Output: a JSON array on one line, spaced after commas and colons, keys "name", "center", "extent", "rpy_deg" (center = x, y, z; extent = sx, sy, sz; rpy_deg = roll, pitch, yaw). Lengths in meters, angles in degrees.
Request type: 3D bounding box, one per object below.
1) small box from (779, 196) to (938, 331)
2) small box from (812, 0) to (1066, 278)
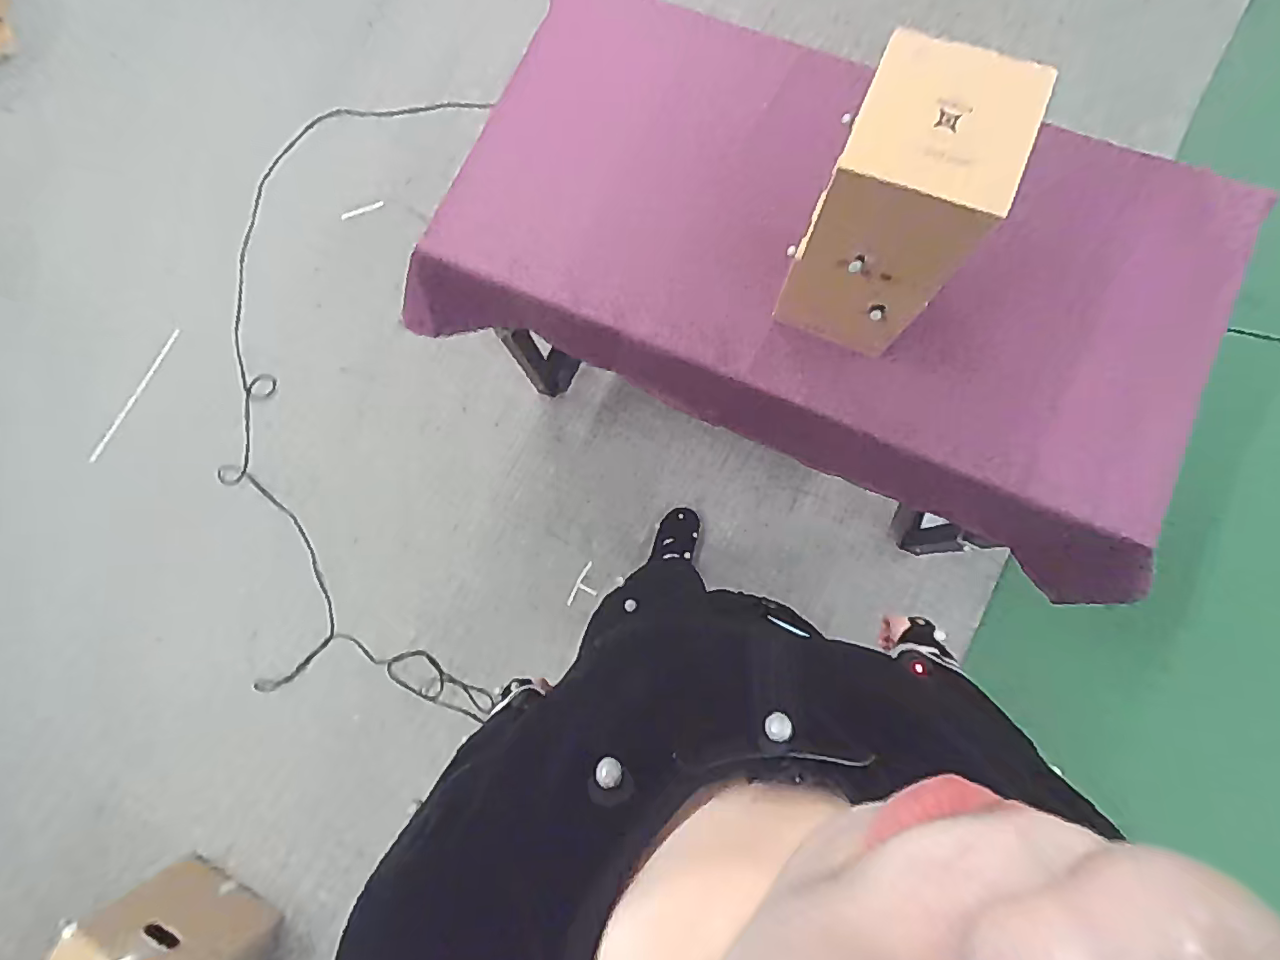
[{"name": "small box", "center": [0.321, -0.336, 0.766], "extent": [0.179, 0.176, 0.168], "rpy_deg": [26, 82, 7]}, {"name": "small box", "center": [0.313, -0.366, 0.606], "extent": [0.168, 0.176, 0.179], "rpy_deg": [25, 83, 7]}]
